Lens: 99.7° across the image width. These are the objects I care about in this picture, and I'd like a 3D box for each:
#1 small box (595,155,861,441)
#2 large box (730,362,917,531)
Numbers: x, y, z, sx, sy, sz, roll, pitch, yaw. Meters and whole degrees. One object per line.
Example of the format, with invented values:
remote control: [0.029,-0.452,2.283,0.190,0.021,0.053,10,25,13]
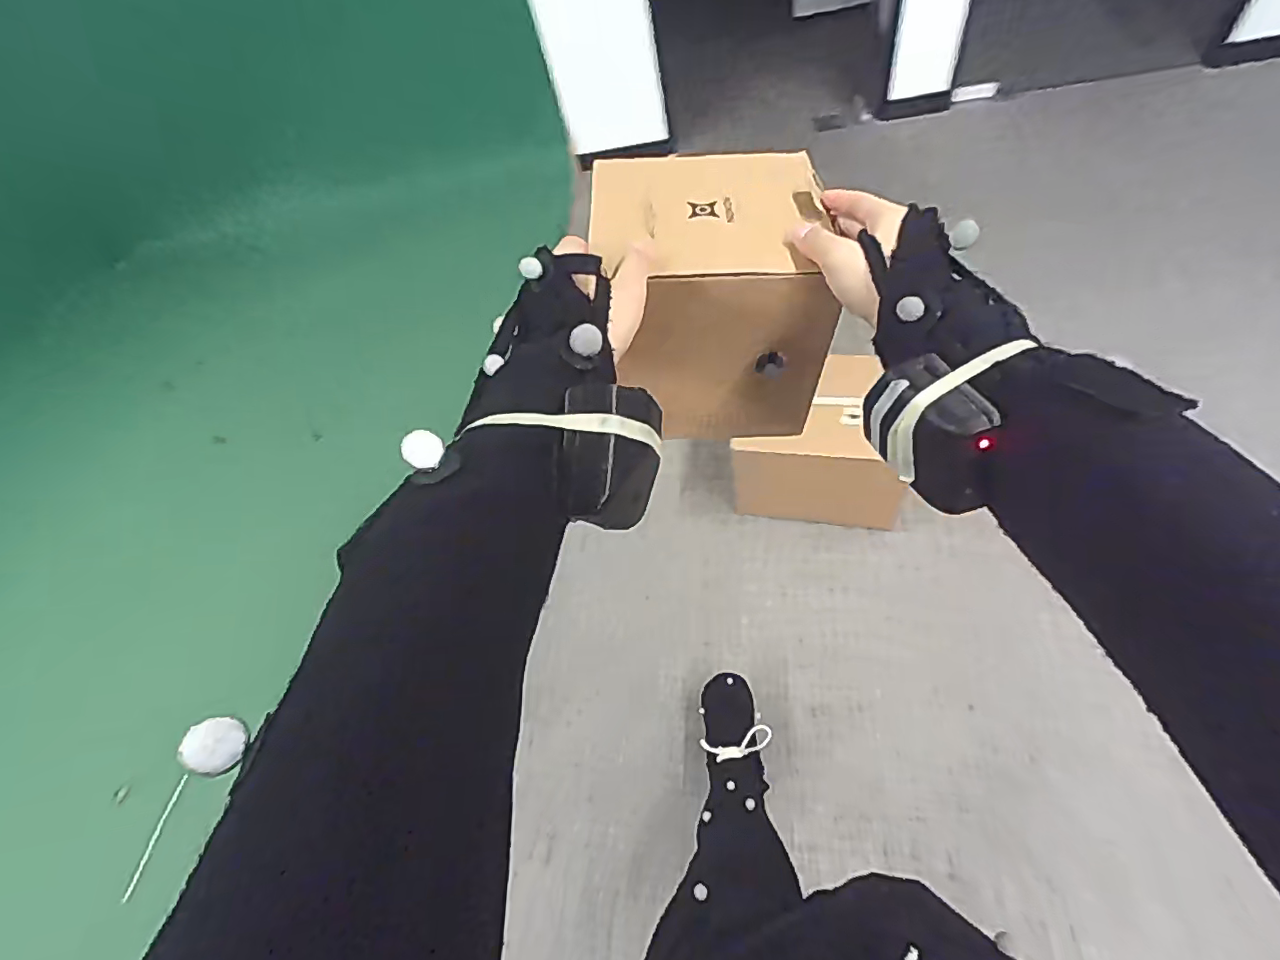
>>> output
small box: [0.060,-0.147,0.461,0.179,0.176,0.168,-2,53,2]
large box: [0.453,-0.086,1.393,0.408,0.320,0.320,5,59,16]
